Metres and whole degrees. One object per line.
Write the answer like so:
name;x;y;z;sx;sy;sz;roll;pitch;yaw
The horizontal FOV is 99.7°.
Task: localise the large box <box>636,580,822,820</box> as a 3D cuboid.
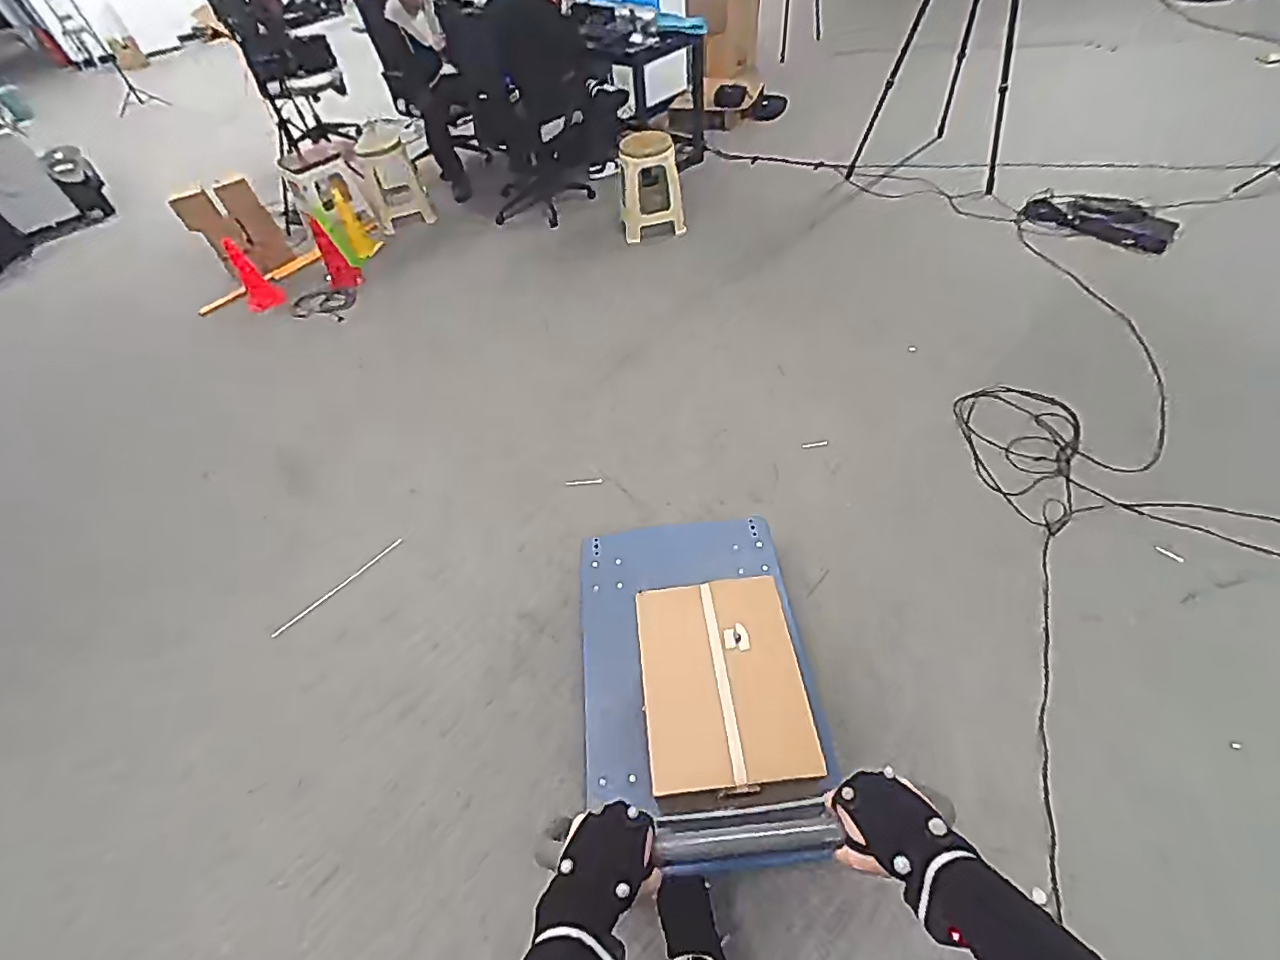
large box;0.176;0.493;1.216;0.320;0.320;0.408;-7;50;1
